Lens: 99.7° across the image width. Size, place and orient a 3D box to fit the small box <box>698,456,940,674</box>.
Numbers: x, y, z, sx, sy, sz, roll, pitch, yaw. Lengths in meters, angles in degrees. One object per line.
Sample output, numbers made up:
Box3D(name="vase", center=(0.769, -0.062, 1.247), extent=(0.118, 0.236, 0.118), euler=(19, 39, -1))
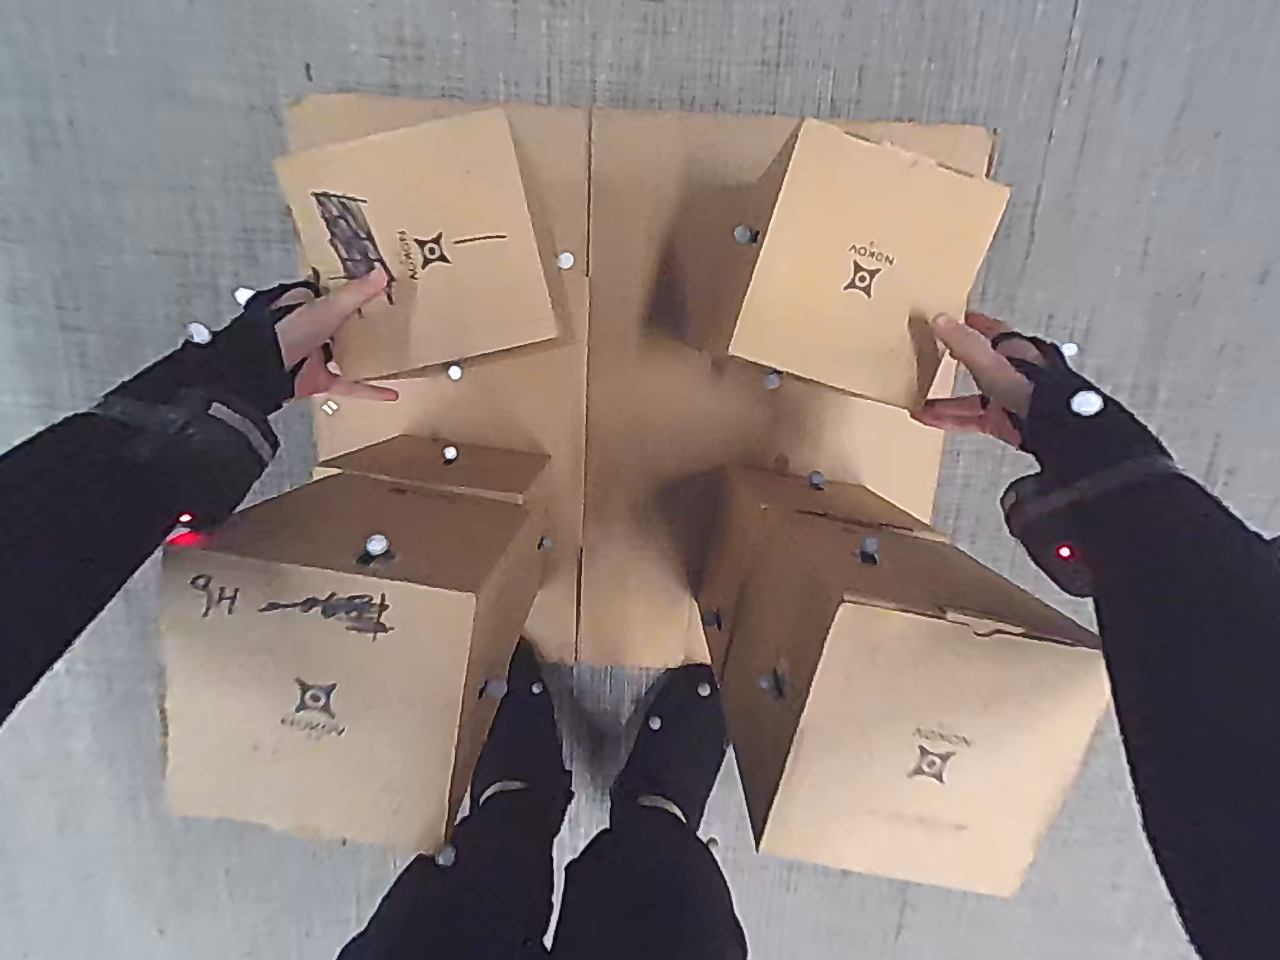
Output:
Box3D(name="small box", center=(0.159, 0.087, 0.549), extent=(0.168, 0.176, 0.179), euler=(10, 103, -3))

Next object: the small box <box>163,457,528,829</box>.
Box3D(name="small box", center=(-0.183, 0.096, 0.382), extent=(0.168, 0.176, 0.179), euler=(11, 103, -4))

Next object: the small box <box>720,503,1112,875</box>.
Box3D(name="small box", center=(0.164, 0.129, 0.391), extent=(0.168, 0.176, 0.179), euler=(12, 104, -3))

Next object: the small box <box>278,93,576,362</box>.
Box3D(name="small box", center=(-0.165, -0.200, 0.482), extent=(0.179, 0.176, 0.168), euler=(-11, 103, 1))
